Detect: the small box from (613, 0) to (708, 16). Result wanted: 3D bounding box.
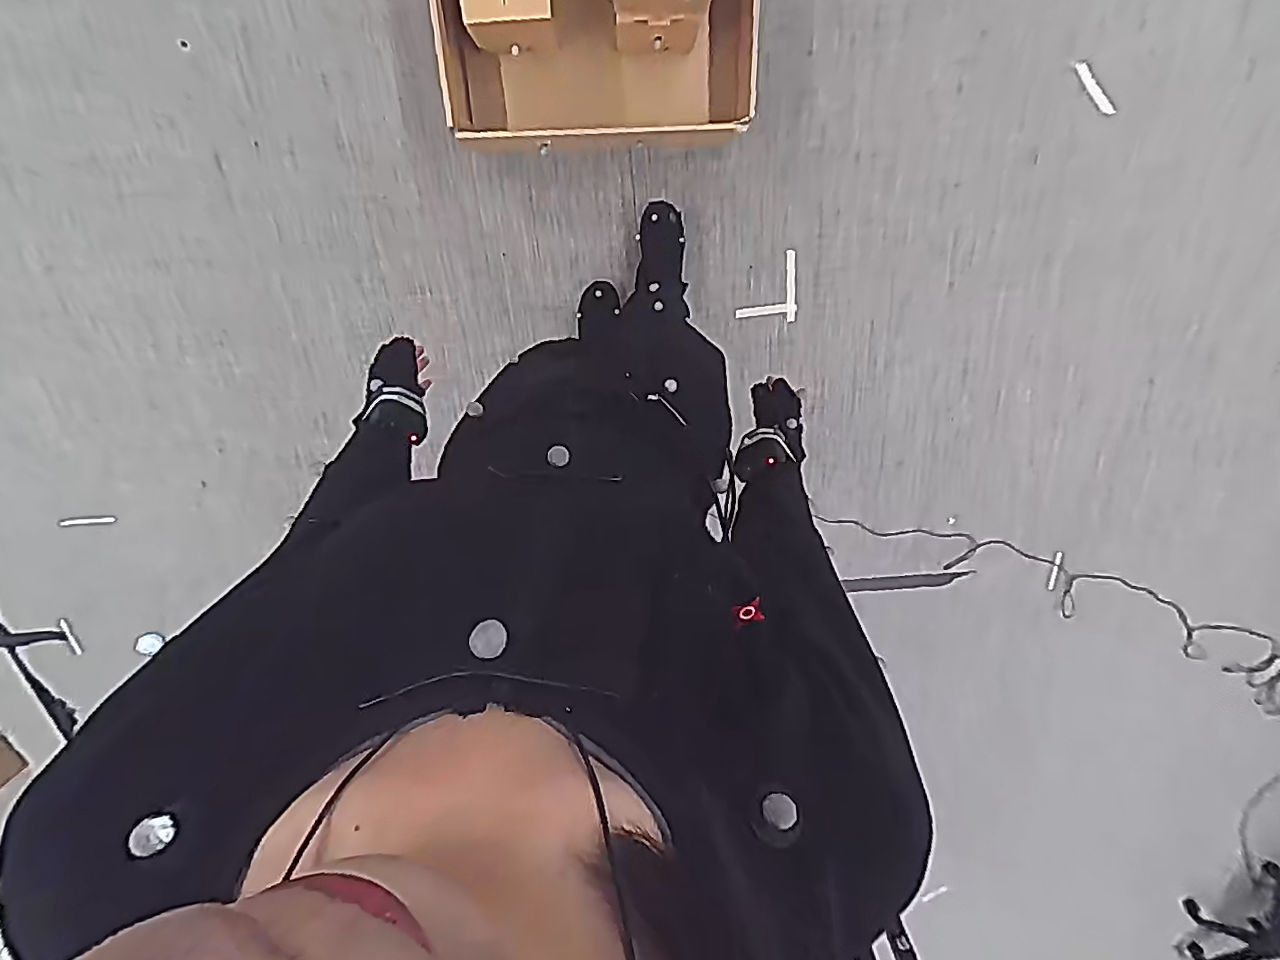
[{"bbox_3d":[0.040,-0.903,0.892,0.179,0.176,0.168,0,110,0],"label":"small box"}]

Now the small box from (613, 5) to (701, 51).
[{"bbox_3d":[0.031,-0.958,1.046,0.168,0.176,0.179,-2,113,0],"label":"small box"}]
